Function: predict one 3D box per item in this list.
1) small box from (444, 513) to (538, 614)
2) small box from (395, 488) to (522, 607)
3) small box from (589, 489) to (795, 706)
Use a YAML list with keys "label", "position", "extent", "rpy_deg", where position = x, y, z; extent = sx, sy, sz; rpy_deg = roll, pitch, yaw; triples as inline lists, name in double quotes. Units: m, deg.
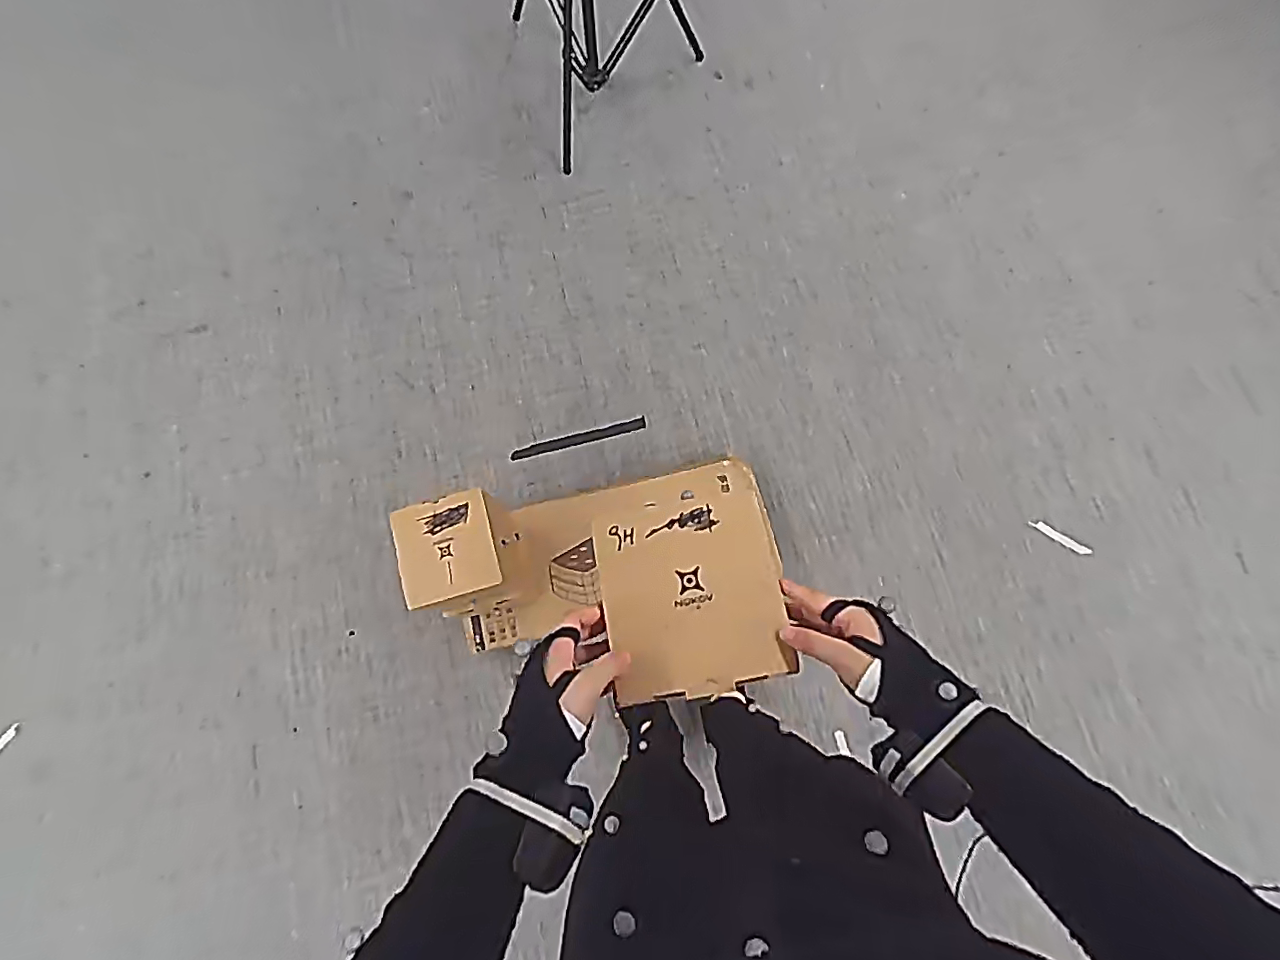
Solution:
- label: "small box"
  position: [-0.326, 0.185, 1.166]
  extent: [0.168, 0.176, 0.179]
  rpy_deg: [-14, 77, -4]
- label: "small box"
  position: [-0.331, 0.133, 1.010]
  extent: [0.168, 0.176, 0.179]
  rpy_deg: [-15, 78, -4]
- label: "small box"
  position: [0.047, 0.126, 0.577]
  extent: [0.168, 0.176, 0.179]
  rpy_deg: [-11, 72, -2]
